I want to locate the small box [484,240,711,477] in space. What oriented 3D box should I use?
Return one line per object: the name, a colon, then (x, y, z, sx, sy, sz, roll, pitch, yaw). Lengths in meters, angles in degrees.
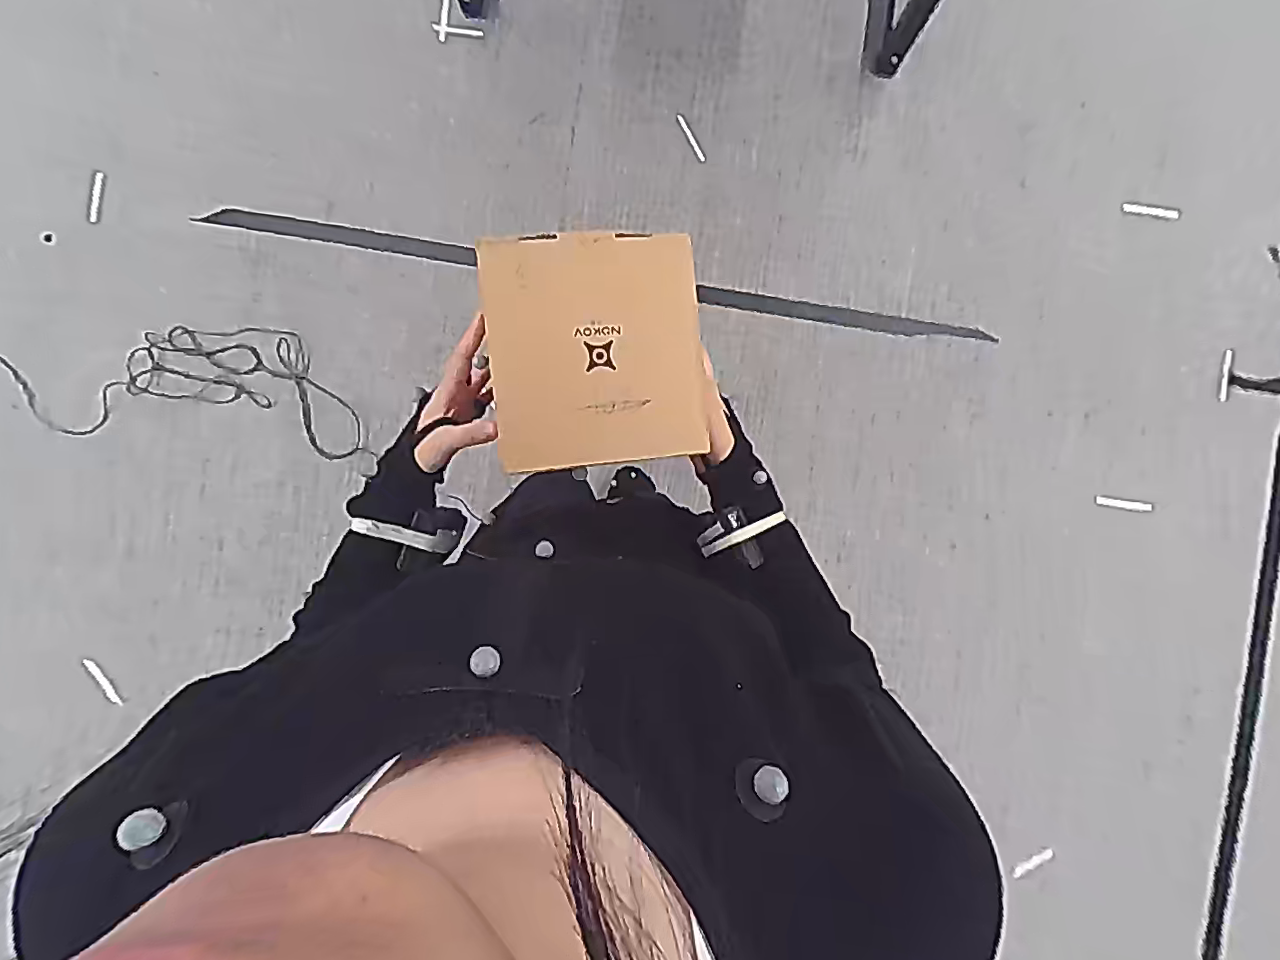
small box: (-0.047, -0.098, 0.493, 0.168, 0.176, 0.179, -7, 94, -12)
